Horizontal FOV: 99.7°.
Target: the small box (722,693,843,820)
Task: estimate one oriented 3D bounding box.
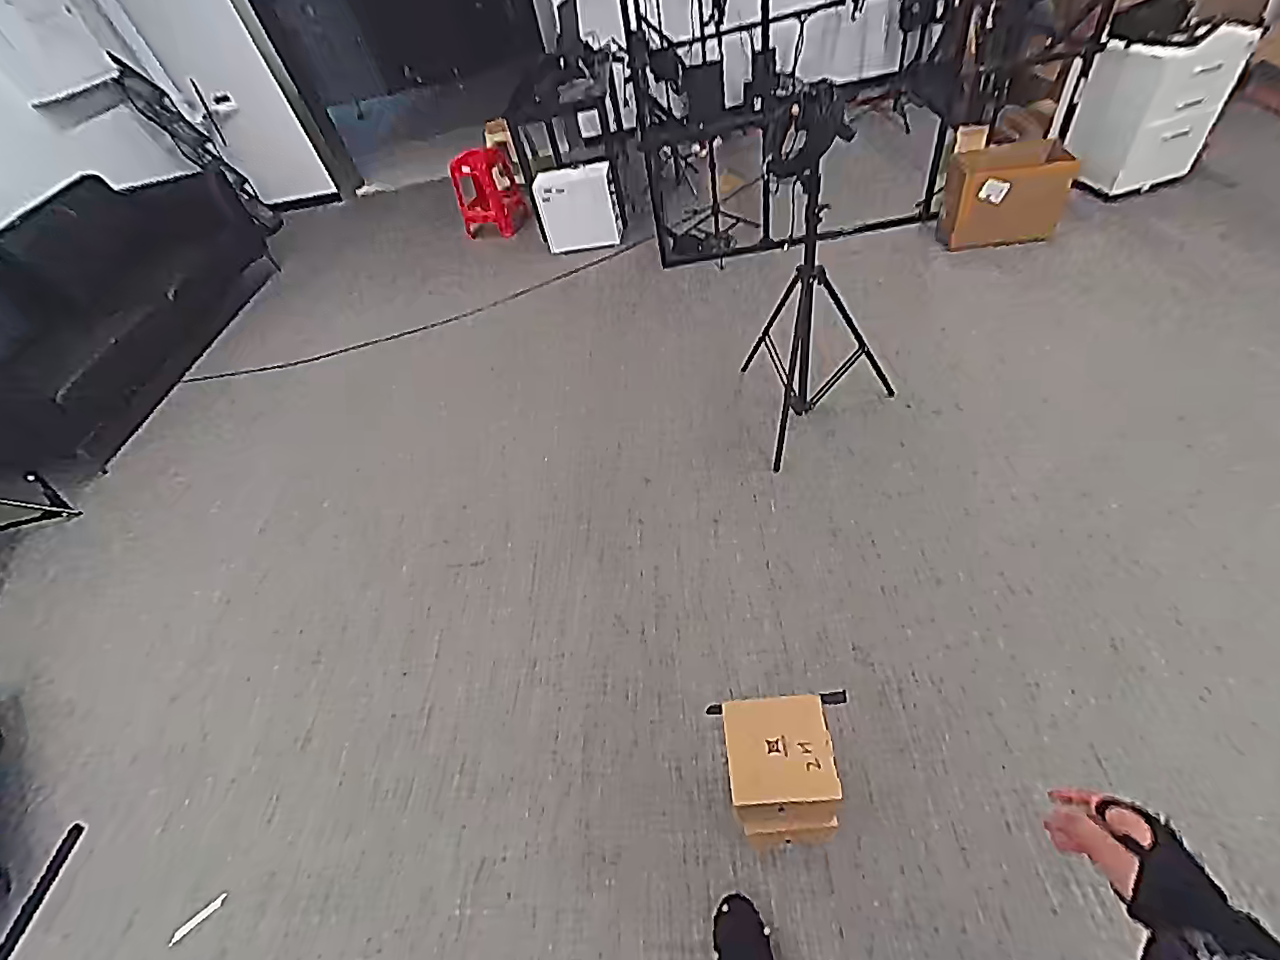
[{"bbox_3d":[0.248,0.496,0.962,0.179,0.176,0.168,-7,49,7],"label":"small box"}]

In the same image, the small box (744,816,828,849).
[{"bbox_3d":[0.307,0.702,1.213,0.168,0.176,0.179,-11,48,4],"label":"small box"}]
